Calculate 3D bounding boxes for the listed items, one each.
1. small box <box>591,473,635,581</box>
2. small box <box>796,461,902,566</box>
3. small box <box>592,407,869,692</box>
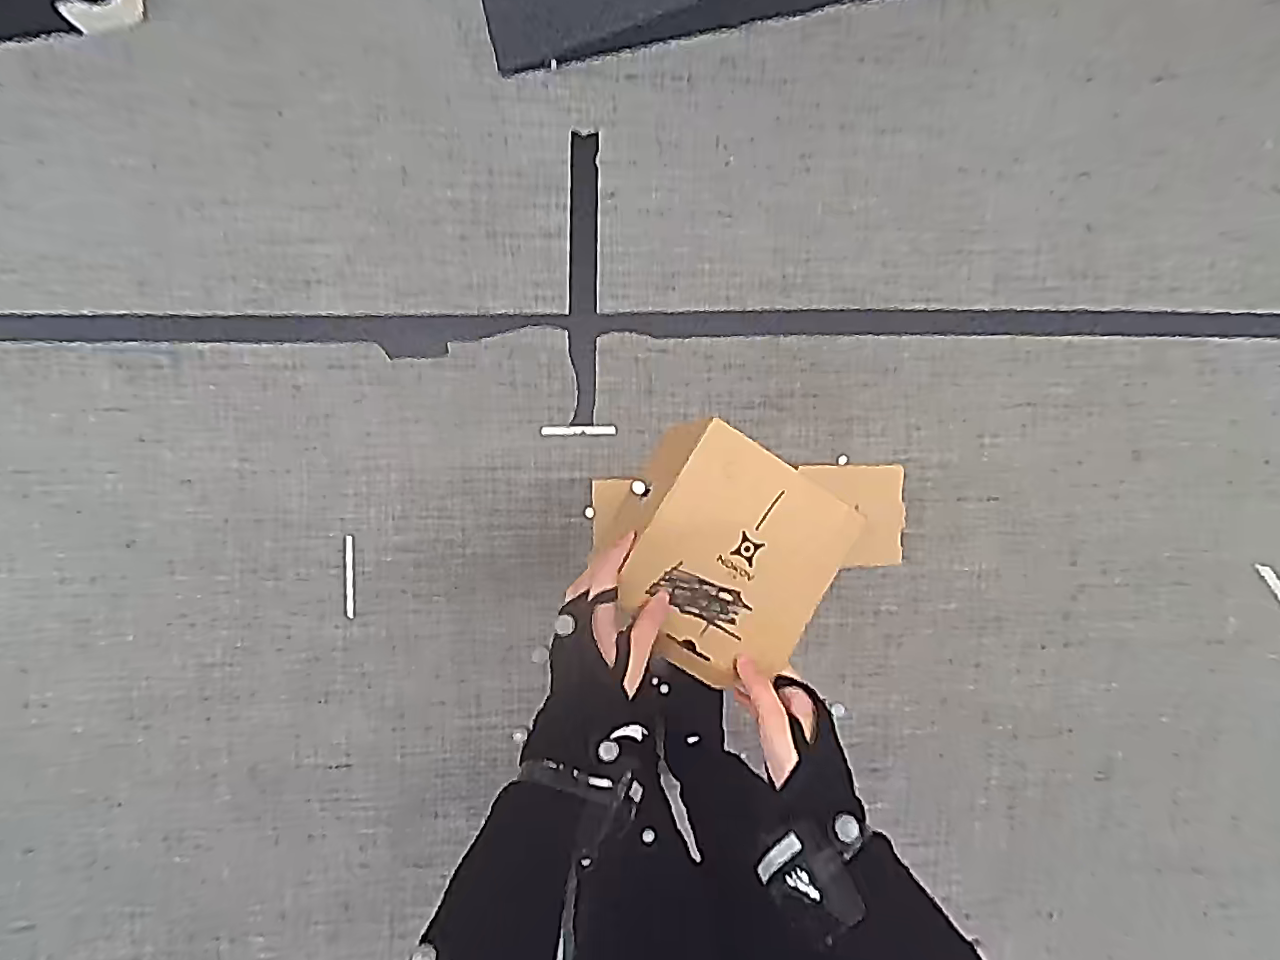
[{"bbox_3d":[0.006,0.073,0.921,0.179,0.176,0.168,0,92,-3],"label":"small box"},{"bbox_3d":[0.325,0.051,0.938,0.179,0.176,0.168,0,92,-4],"label":"small box"},{"bbox_3d":[0.066,0.055,0.507,0.168,0.176,0.179,32,86,-10],"label":"small box"}]
